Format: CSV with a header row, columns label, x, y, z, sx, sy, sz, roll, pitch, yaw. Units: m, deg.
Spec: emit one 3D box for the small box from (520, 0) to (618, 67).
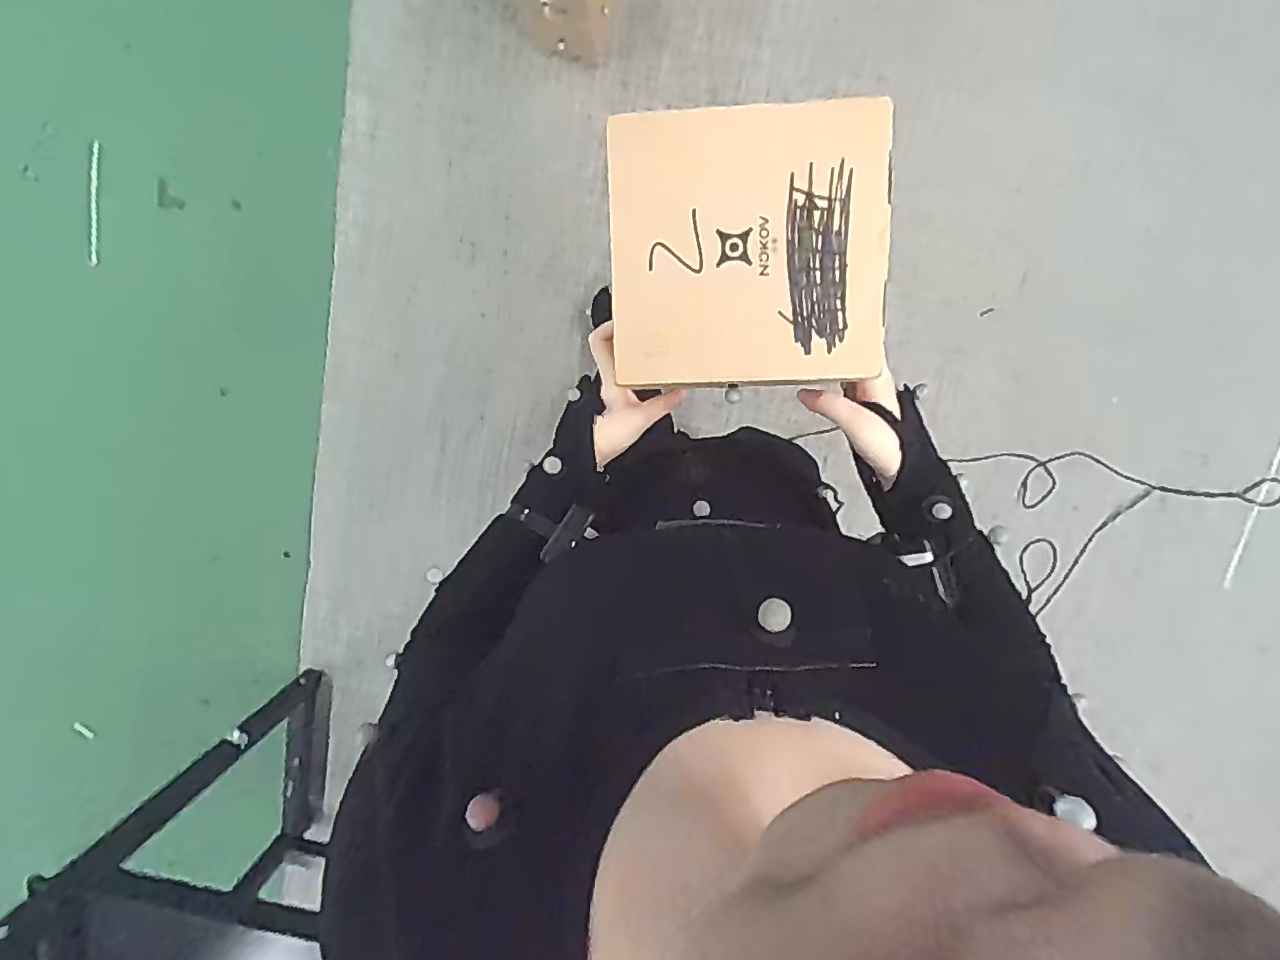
label,x,y,z,sx,sy,sz,roll,pitch,yaw
small box,-0.150,-1.077,1.211,0.168,0.176,0.179,16,102,0
